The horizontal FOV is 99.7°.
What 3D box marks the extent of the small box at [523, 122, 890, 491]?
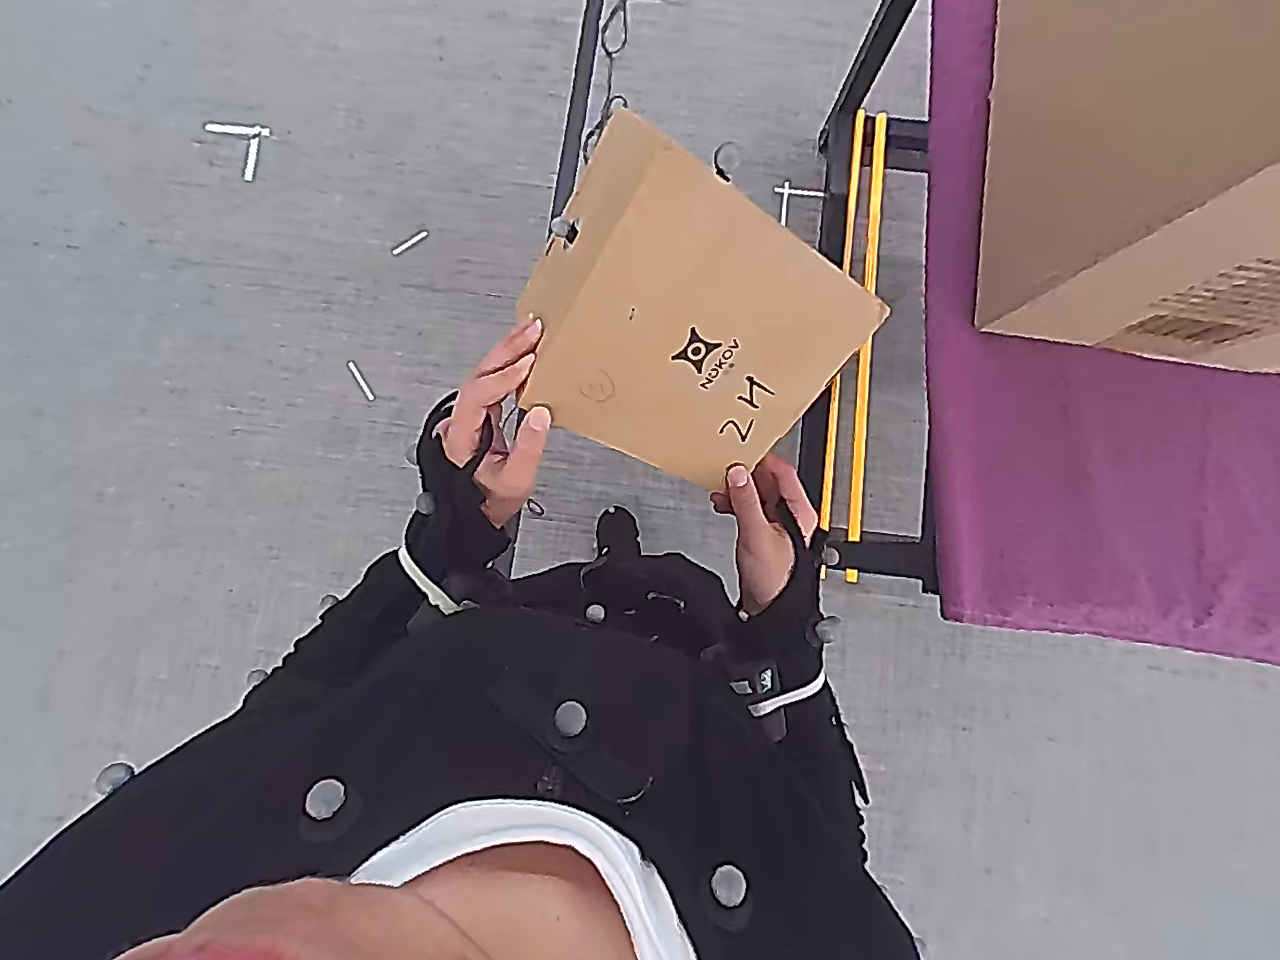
[{"bbox_3d":[0.026,-0.125,0.390,0.179,0.176,0.168,21,118,-28],"label":"small box"}]
